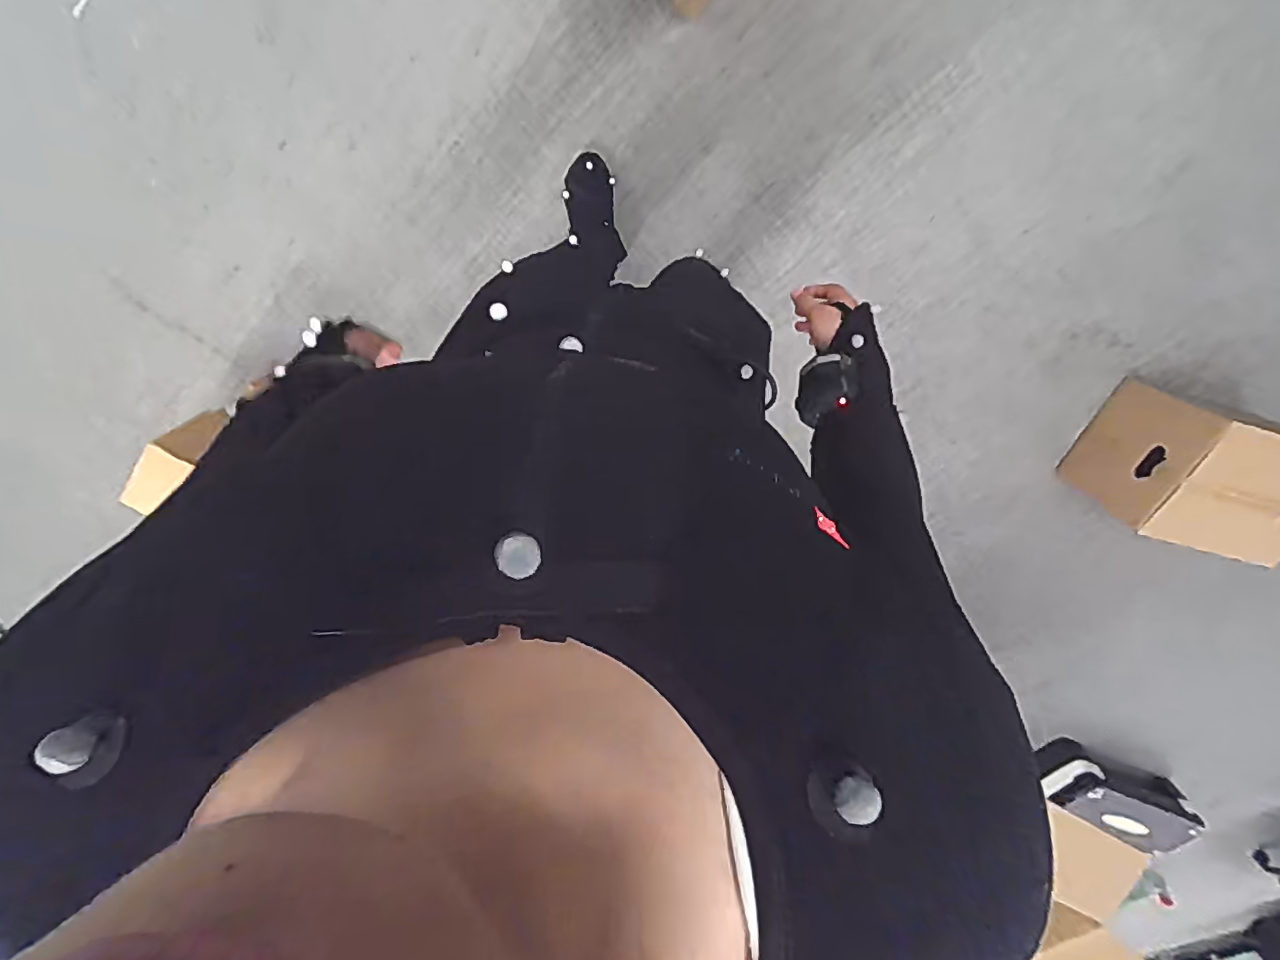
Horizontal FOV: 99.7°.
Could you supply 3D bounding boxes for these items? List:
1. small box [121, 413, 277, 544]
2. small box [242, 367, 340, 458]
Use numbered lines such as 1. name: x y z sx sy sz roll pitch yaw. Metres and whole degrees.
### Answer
1. small box: -0.911 -0.007 1.133 0.168 0.176 0.179 37 112 -19
2. small box: -0.925 -0.168 1.417 0.168 0.176 0.179 35 114 -17
